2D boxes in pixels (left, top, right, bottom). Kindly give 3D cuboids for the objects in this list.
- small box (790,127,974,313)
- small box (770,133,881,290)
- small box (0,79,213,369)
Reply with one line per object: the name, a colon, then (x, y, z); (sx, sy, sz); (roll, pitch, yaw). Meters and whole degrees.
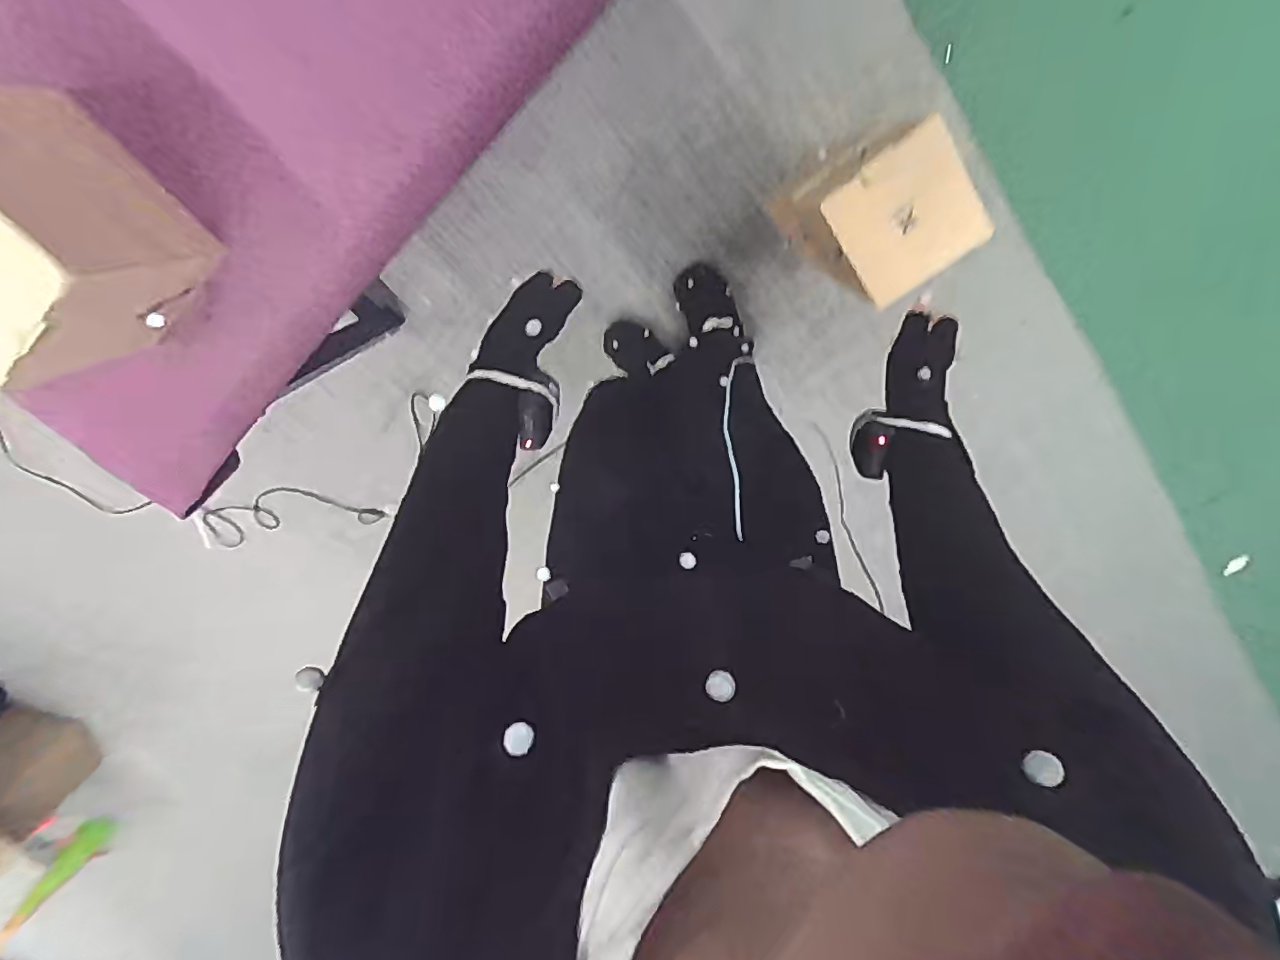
small box: (0.346, -0.383, 0.801); (0.168, 0.176, 0.179); (-33, 112, 19)
small box: (0.347, -0.466, 0.942); (0.168, 0.176, 0.179); (-32, 112, 19)
small box: (-0.550, -0.225, 0.479); (0.168, 0.176, 0.179); (-32, 113, 19)
